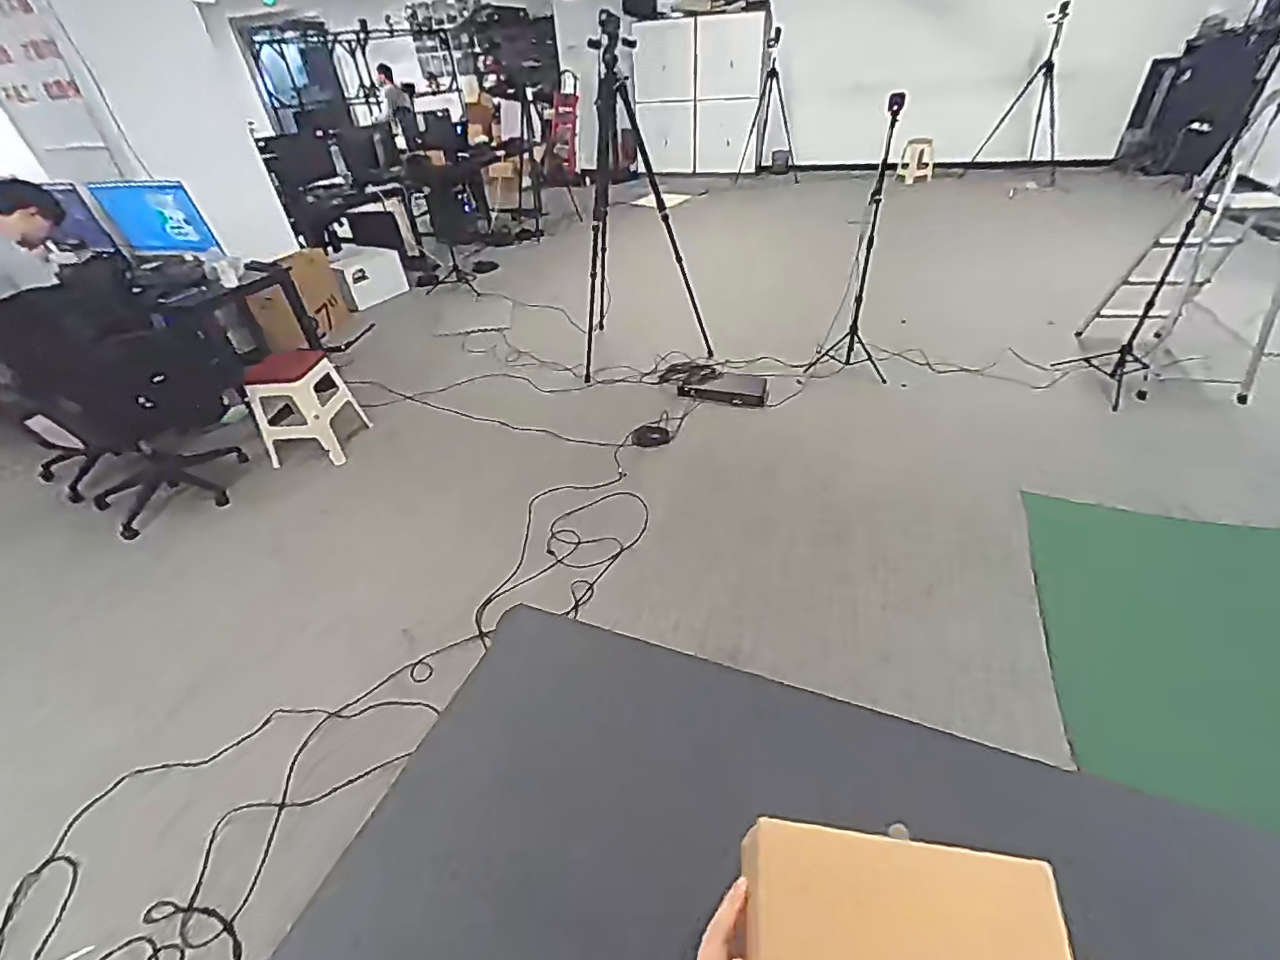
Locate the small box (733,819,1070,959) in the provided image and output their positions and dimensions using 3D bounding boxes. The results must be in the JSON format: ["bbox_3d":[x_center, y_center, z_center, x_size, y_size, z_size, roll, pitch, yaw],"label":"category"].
[{"bbox_3d":[0.145,0.330,0.337,0.168,0.176,0.179,3,56,9],"label":"small box"}]
